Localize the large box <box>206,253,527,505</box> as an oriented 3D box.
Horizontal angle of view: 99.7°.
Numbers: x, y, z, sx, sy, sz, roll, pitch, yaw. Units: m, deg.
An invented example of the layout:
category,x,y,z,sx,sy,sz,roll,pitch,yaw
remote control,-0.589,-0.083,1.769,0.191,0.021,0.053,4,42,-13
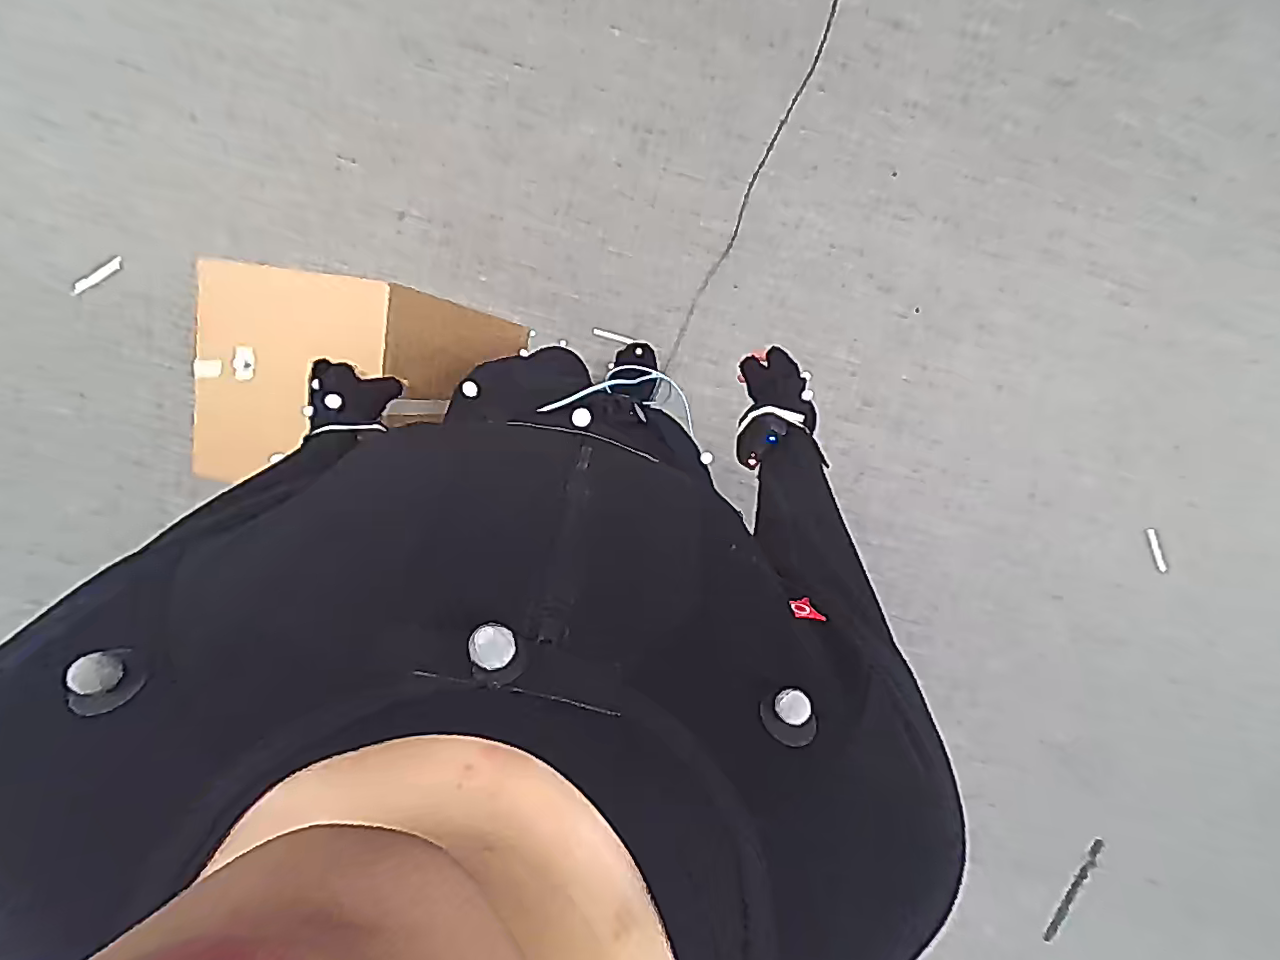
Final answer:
category,x,y,z,sx,sy,sz,roll,pitch,yaw
large box,-0.441,-0.175,0.941,0.320,0.408,0.320,15,102,11
